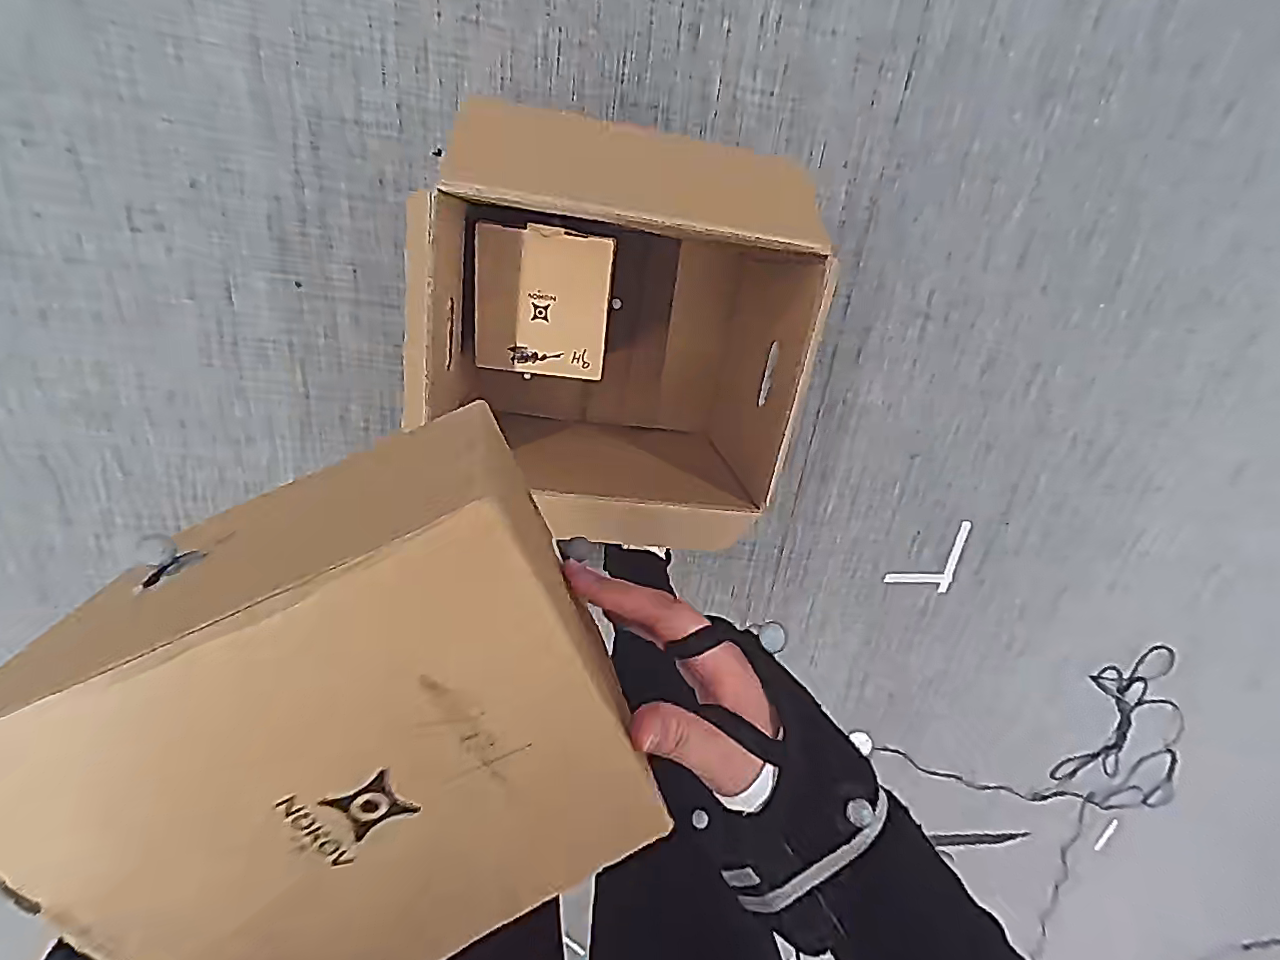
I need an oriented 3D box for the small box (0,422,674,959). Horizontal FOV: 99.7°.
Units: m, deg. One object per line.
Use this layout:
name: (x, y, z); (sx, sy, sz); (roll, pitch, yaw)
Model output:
small box: (-0.110, 0.089, 0.267); (0.179, 0.176, 0.168); (-26, 113, -9)
